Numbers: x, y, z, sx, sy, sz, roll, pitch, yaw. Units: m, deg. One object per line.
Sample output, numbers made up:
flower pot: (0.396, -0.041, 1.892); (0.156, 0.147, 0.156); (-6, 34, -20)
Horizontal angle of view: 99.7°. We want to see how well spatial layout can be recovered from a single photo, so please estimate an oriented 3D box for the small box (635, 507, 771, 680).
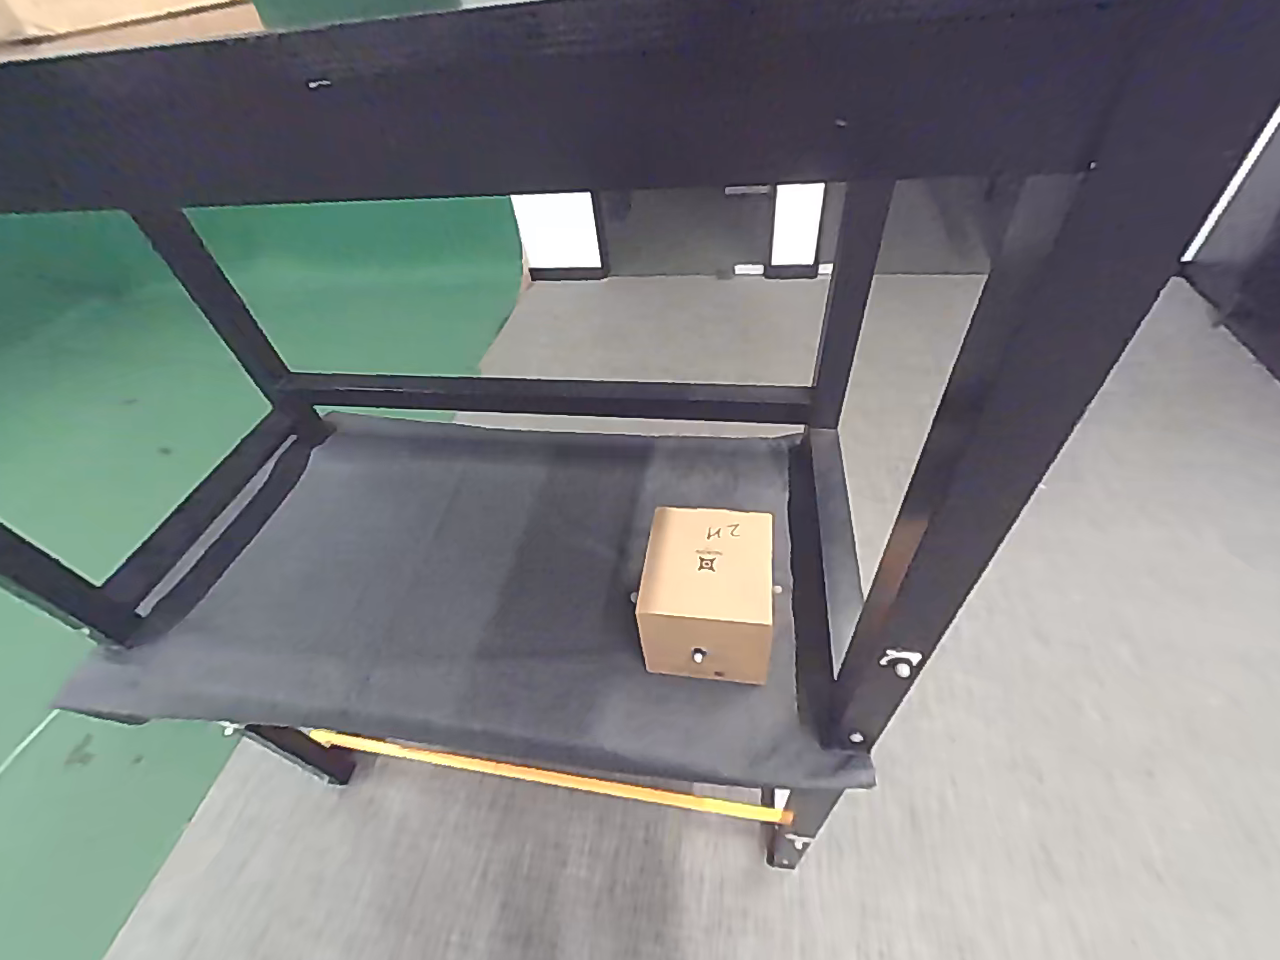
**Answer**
small box: (0.095, 0.161, 0.766); (0.168, 0.176, 0.179); (4, 46, 10)
